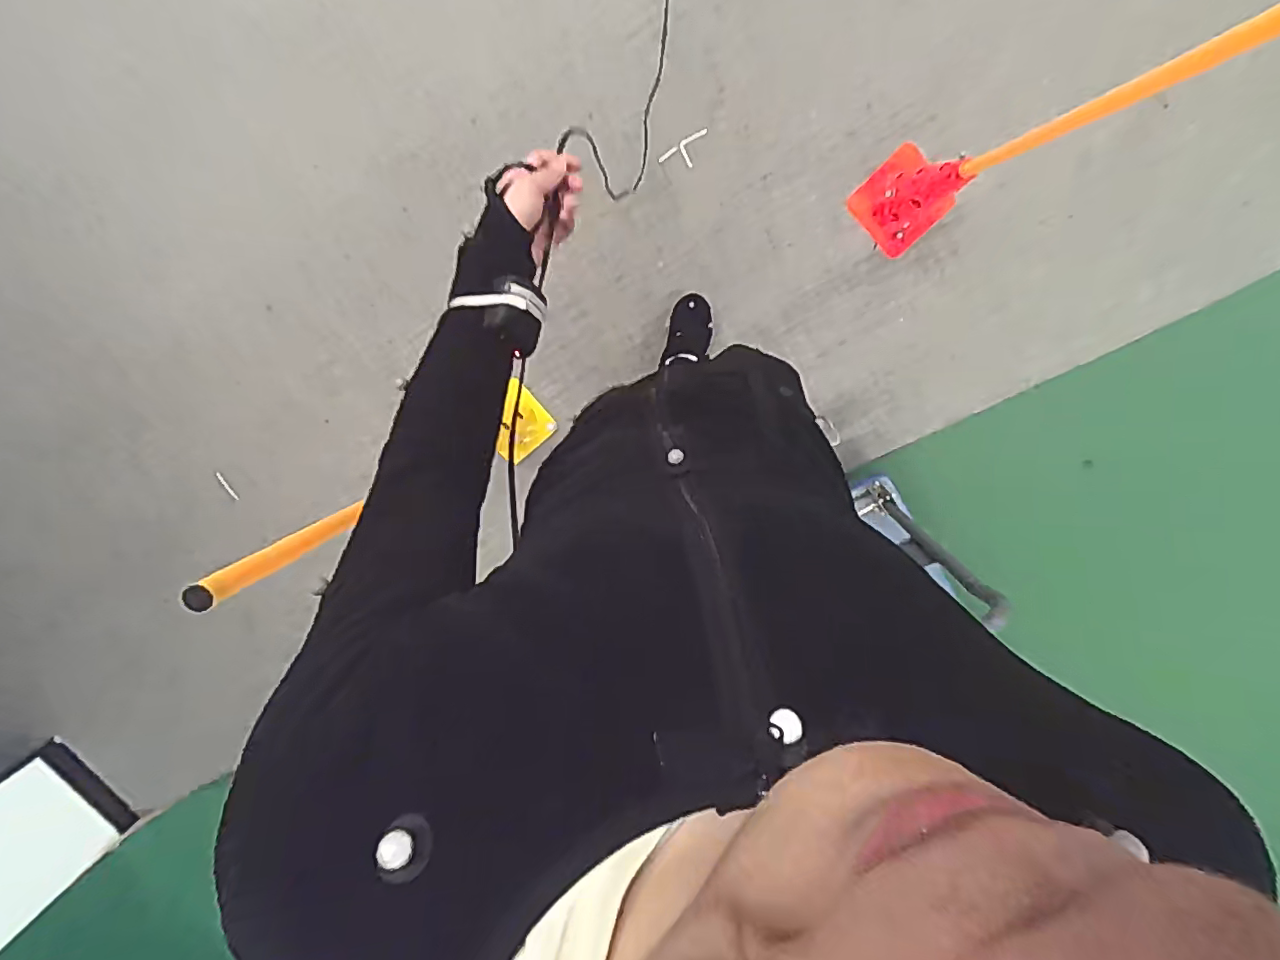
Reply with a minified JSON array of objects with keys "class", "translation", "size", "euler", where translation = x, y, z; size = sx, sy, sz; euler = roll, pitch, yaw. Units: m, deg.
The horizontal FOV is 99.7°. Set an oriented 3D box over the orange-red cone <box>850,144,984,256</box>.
[{"class":"orange-red cone","translation":[0.643,-0.645,1.187],"size":[0.199,0.360,0.198],"euler":[-42,101,14]}]
